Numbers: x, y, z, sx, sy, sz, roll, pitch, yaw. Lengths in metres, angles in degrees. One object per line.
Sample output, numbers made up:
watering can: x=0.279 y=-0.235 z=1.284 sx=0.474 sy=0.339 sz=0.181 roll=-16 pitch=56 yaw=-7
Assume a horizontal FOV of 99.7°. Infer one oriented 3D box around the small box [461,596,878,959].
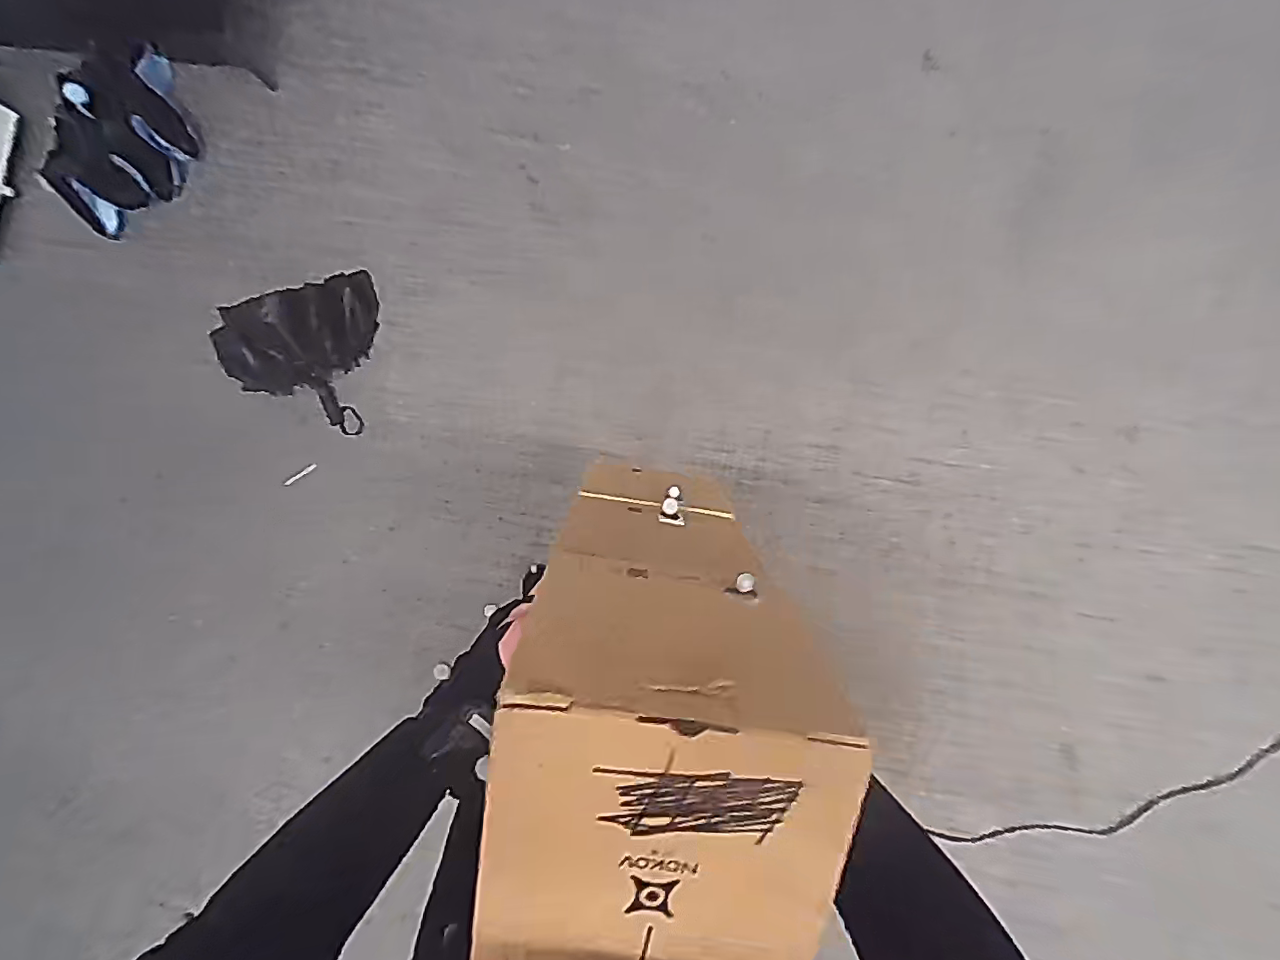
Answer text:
small box: x=0.004 y=0.186 z=0.311 sx=0.168 sy=0.176 sz=0.179 roll=8 pitch=105 yaw=-2
